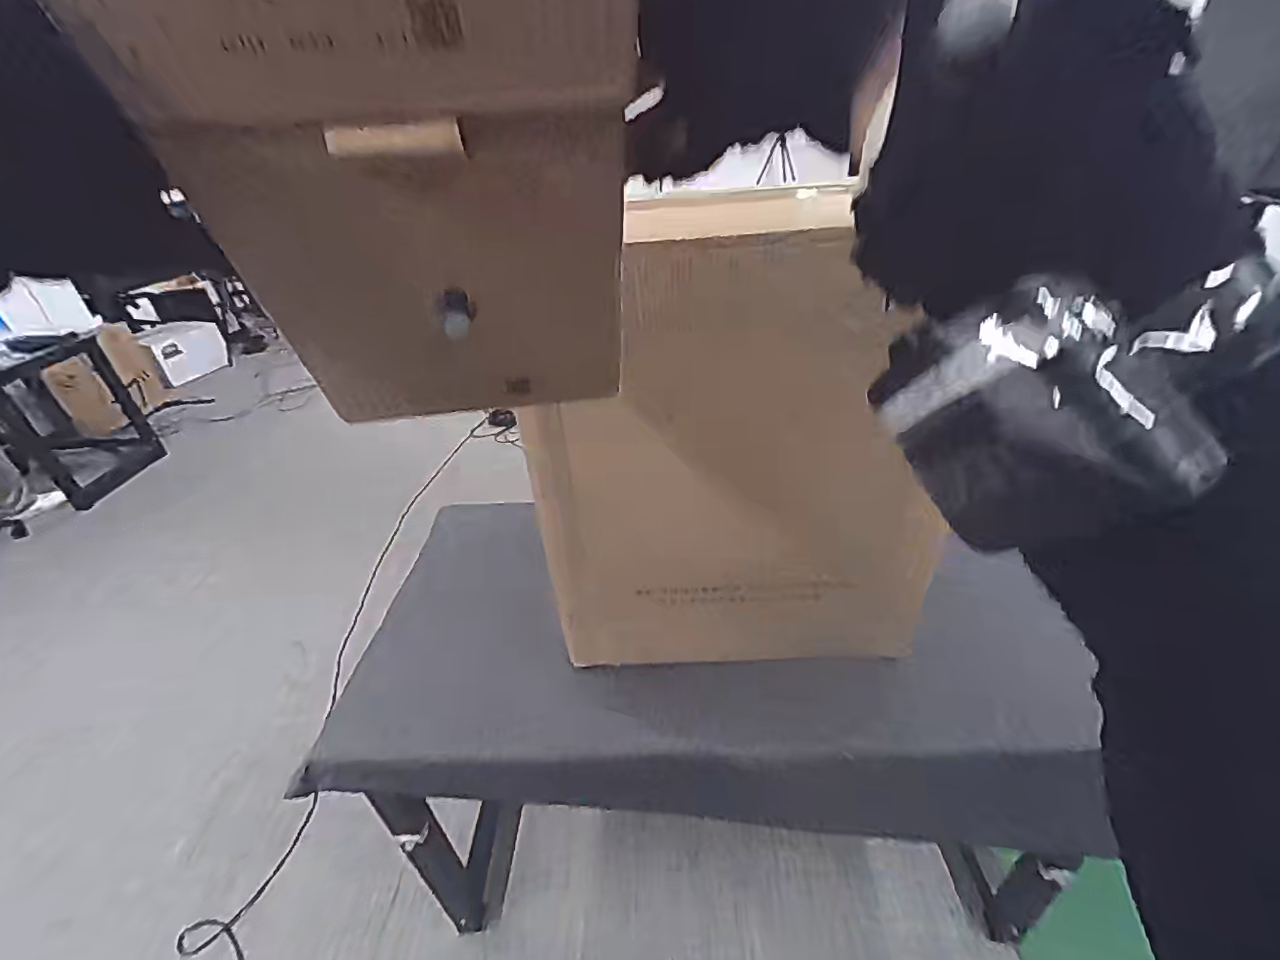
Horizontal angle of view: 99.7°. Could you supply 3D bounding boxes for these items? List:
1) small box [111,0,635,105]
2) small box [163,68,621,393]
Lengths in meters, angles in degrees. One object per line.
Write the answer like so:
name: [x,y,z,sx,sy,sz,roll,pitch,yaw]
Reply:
small box: [-0.088,-0.242,0.163,0.168,0.176,0.179,-5,59,-8]
small box: [-0.101,-0.163,0.304,0.168,0.176,0.179,-6,60,-7]
